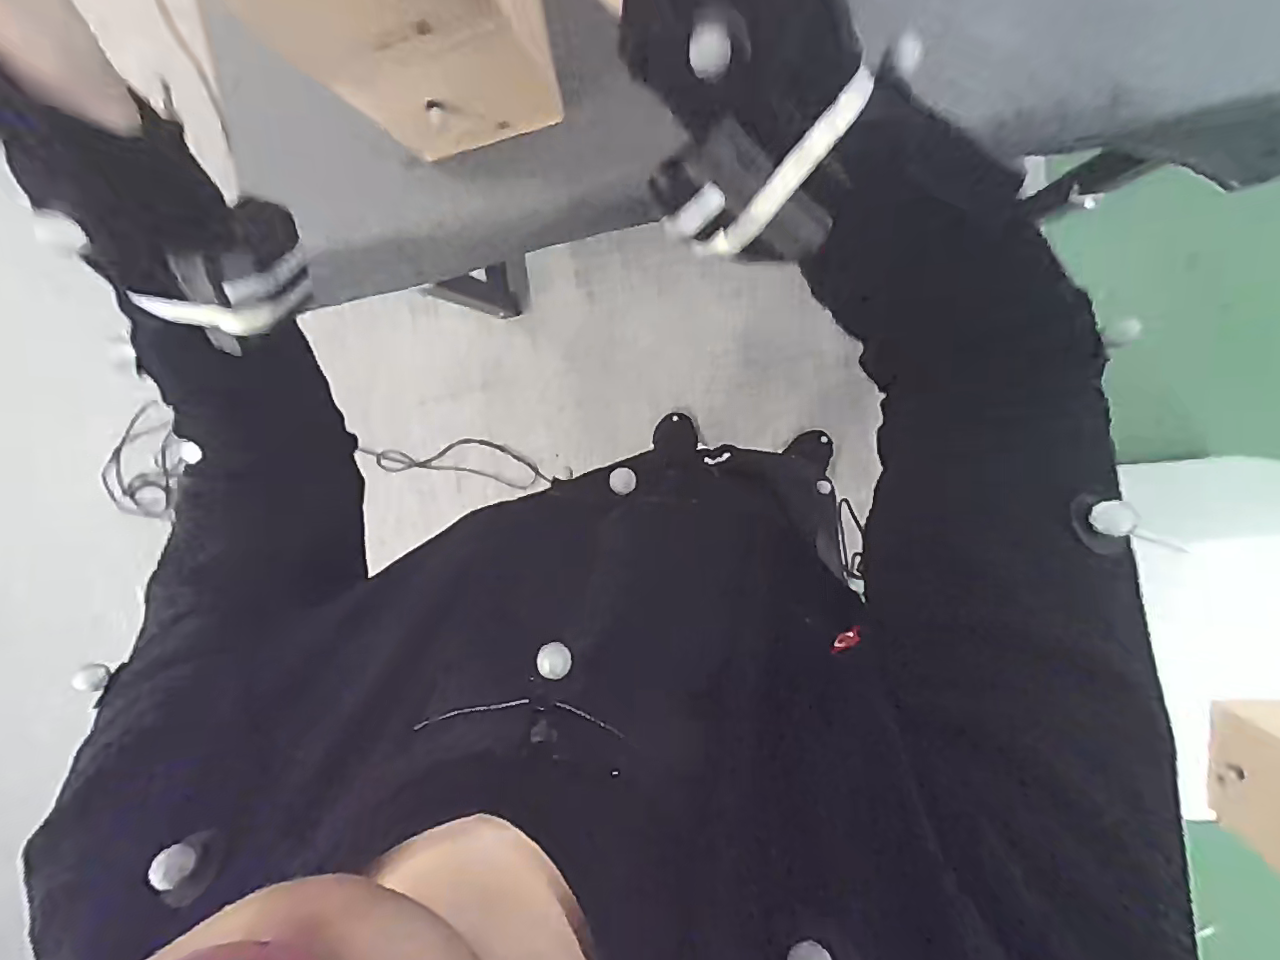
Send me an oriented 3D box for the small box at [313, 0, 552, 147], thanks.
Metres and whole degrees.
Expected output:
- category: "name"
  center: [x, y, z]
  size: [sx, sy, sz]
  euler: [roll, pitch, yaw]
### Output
- category: "small box"
  center: [-0.194, -0.441, 0.501]
  size: [0.168, 0.176, 0.179]
  euler: [-11, 98, 9]
